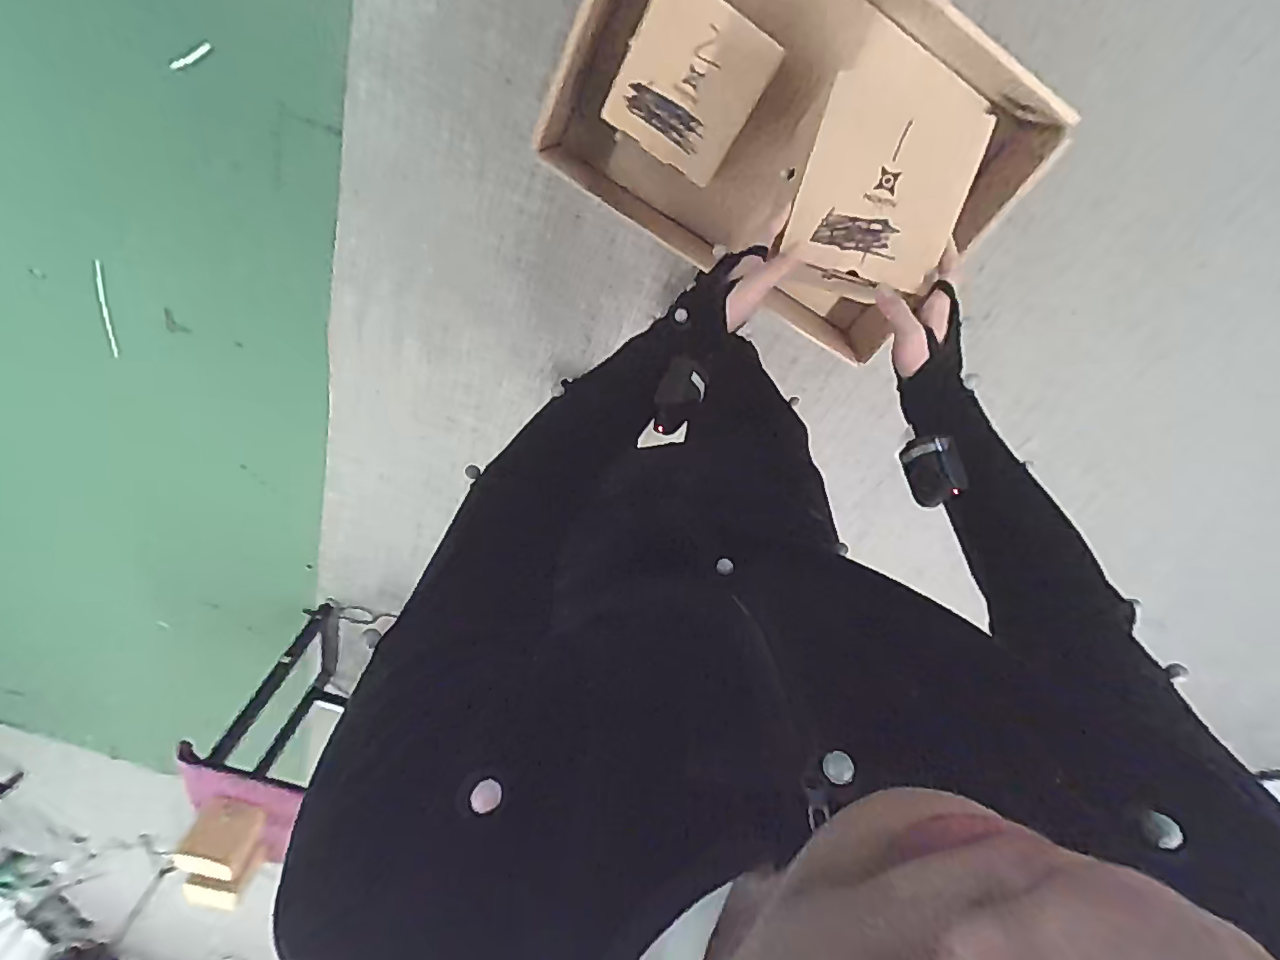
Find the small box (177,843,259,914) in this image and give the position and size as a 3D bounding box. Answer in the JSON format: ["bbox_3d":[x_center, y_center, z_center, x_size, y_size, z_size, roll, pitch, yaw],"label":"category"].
[{"bbox_3d":[-1.479,1.388,1.905,0.168,0.176,0.179,21,123,-10],"label":"small box"}]

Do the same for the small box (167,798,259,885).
[{"bbox_3d":[-1.354,1.152,1.725,0.168,0.176,0.179,23,126,-10],"label":"small box"}]

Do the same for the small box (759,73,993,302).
[{"bbox_3d":[0.246,-0.311,0.619,0.168,0.176,0.179,15,107,-2],"label":"small box"}]
